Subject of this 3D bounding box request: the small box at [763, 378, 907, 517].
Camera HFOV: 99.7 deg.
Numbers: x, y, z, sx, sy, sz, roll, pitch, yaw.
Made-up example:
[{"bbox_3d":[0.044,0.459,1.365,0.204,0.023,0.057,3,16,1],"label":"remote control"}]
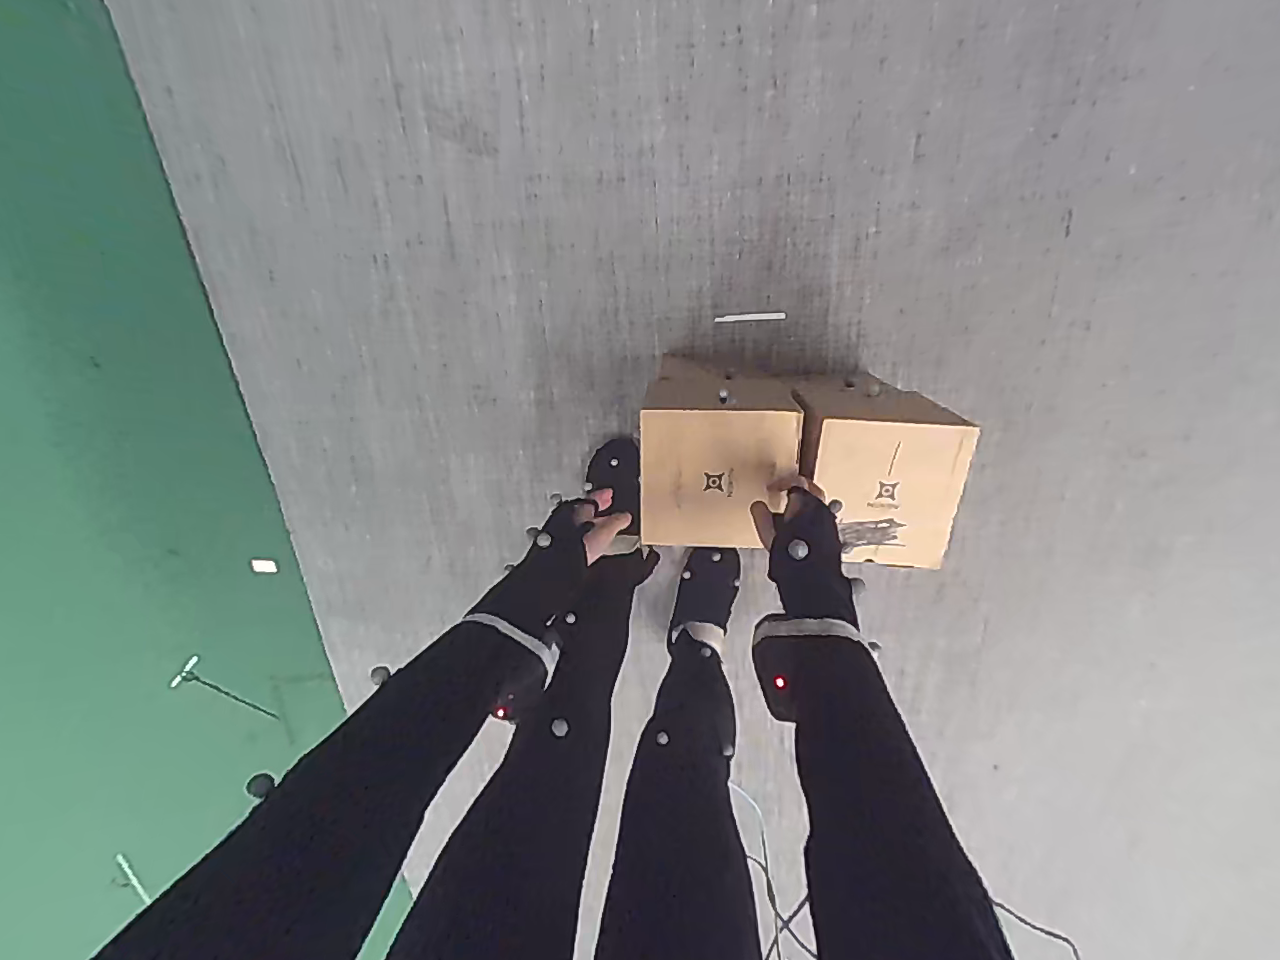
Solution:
[{"bbox_3d":[0.285,-0.058,0.829,0.168,0.176,0.179,-2,112,4],"label":"small box"}]
